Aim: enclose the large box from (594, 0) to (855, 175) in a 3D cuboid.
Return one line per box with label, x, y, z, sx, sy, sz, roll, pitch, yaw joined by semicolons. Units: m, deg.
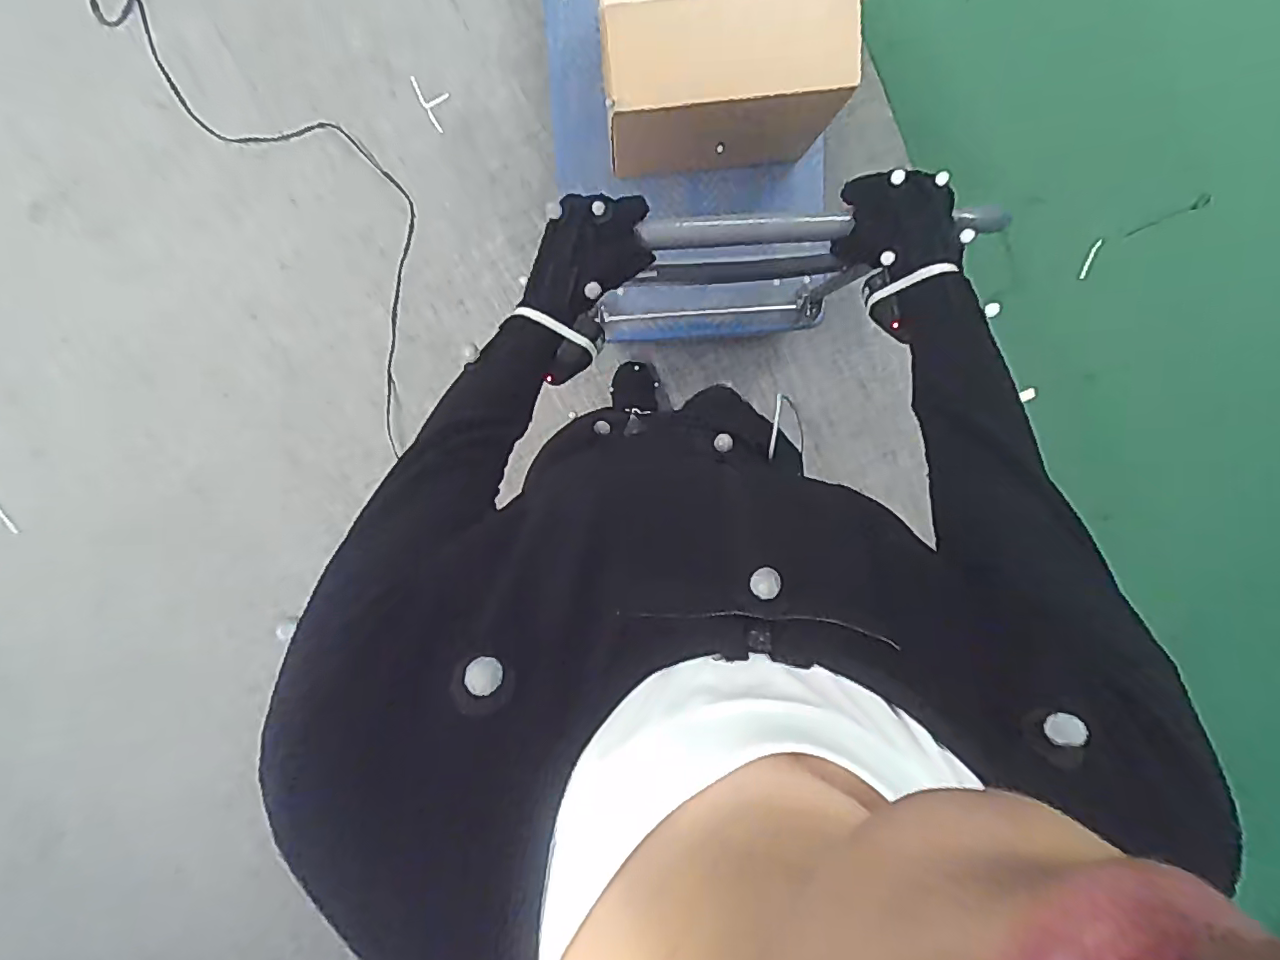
large box;0.131;-0.795;0.990;0.408;0.320;0.320;-7;101;0
